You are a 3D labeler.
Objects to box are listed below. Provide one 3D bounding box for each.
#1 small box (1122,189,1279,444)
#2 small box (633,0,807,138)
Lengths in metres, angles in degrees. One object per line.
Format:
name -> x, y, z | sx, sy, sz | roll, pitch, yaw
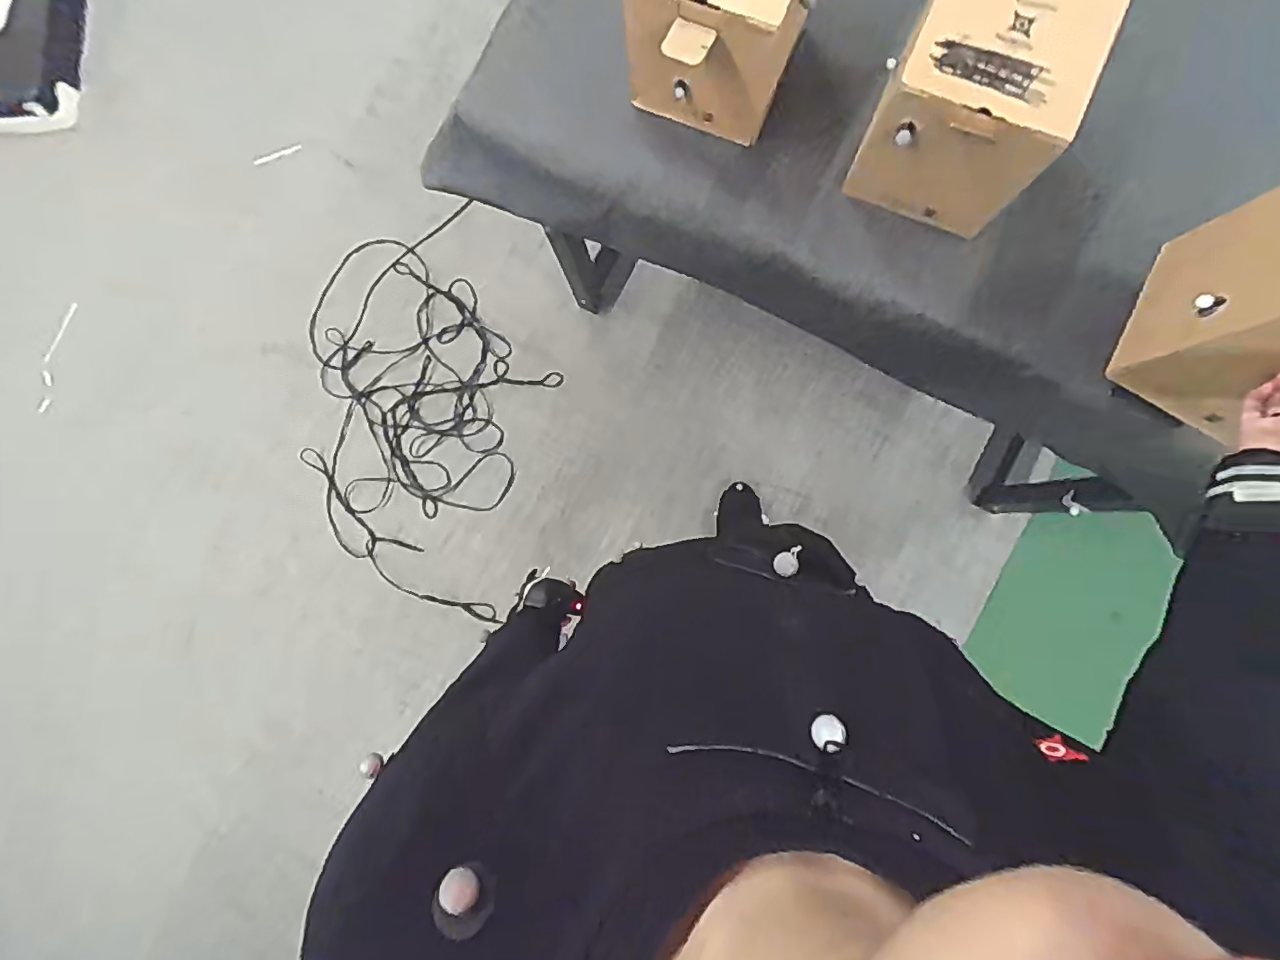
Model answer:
small box -> 0.609, -0.151, 0.499 | 0.168, 0.176, 0.179 | 29, 82, -2
small box -> 0.094, -0.536, 0.600 | 0.168, 0.176, 0.179 | 22, 88, 4
